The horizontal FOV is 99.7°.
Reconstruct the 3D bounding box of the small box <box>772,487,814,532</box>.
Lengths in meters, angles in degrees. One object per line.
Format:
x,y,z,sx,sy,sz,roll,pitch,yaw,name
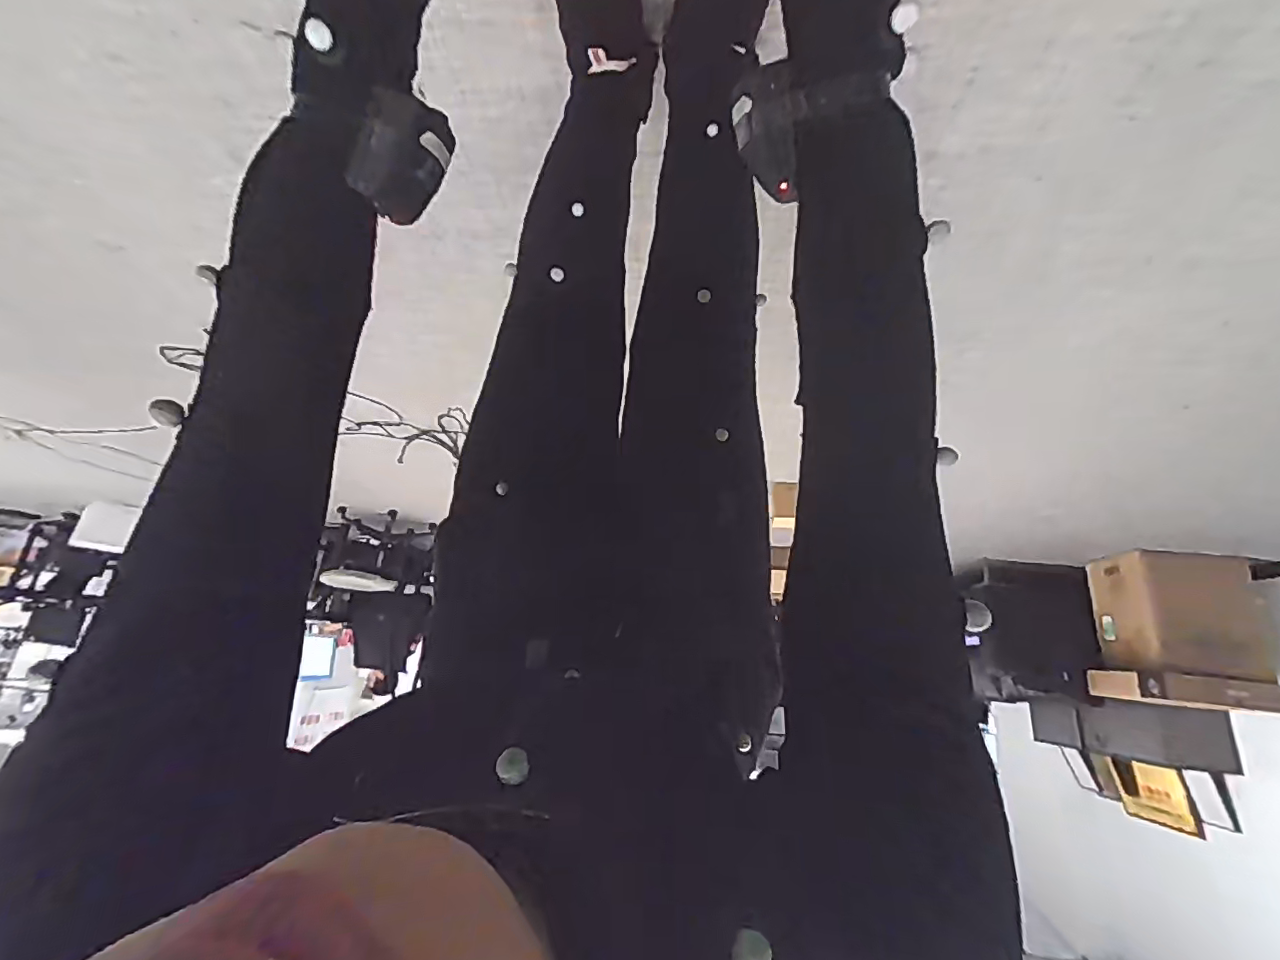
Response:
0.692,0.135,2.465,0.168,0.176,0.179,2,161,10,small box
